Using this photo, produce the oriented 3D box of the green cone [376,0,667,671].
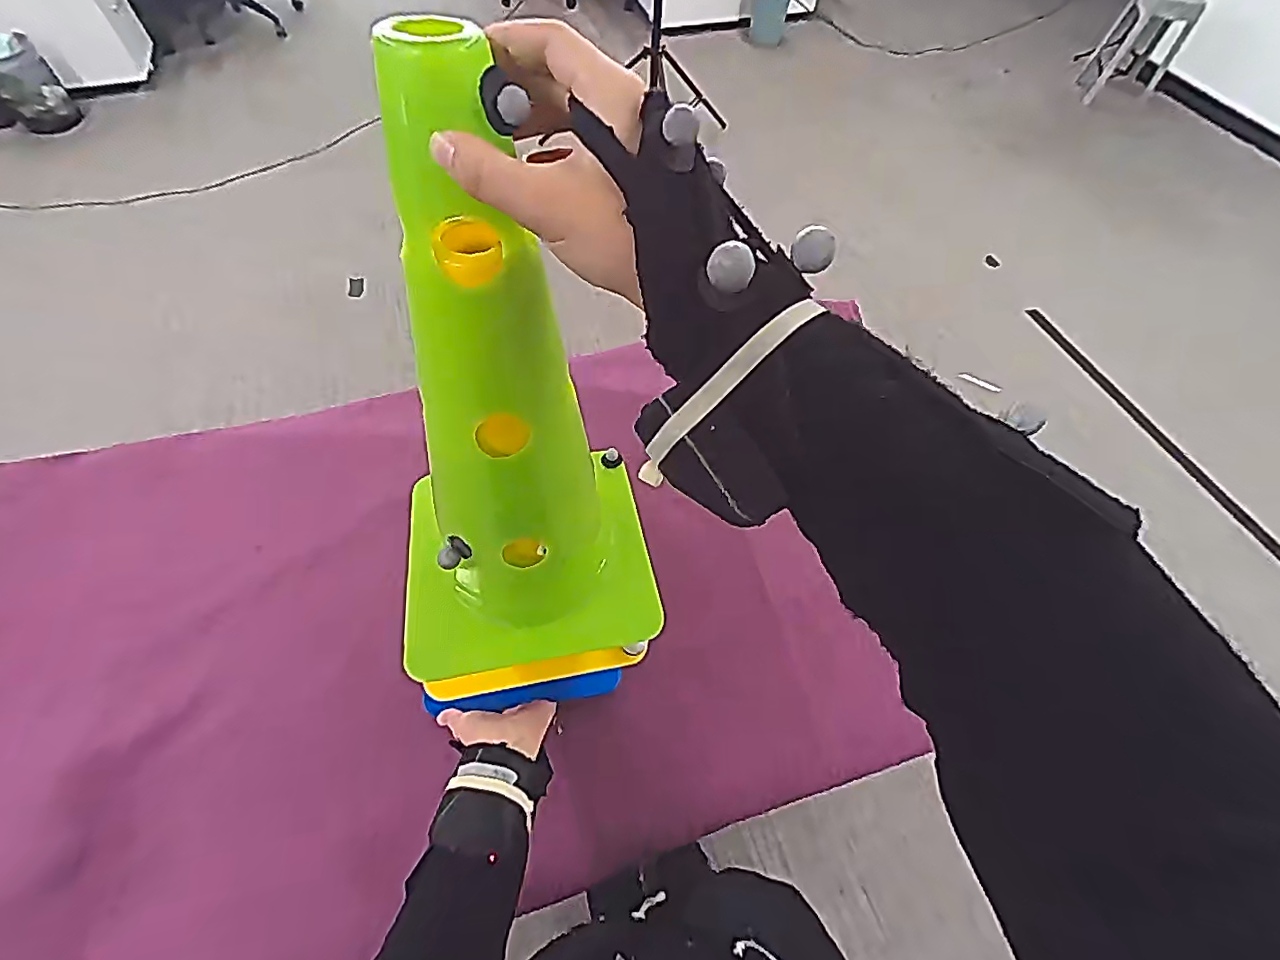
[{"bbox_3d":[-0.084,-0.055,0.327,0.200,0.368,0.202,-9,53,-10],"label":"green cone"}]
